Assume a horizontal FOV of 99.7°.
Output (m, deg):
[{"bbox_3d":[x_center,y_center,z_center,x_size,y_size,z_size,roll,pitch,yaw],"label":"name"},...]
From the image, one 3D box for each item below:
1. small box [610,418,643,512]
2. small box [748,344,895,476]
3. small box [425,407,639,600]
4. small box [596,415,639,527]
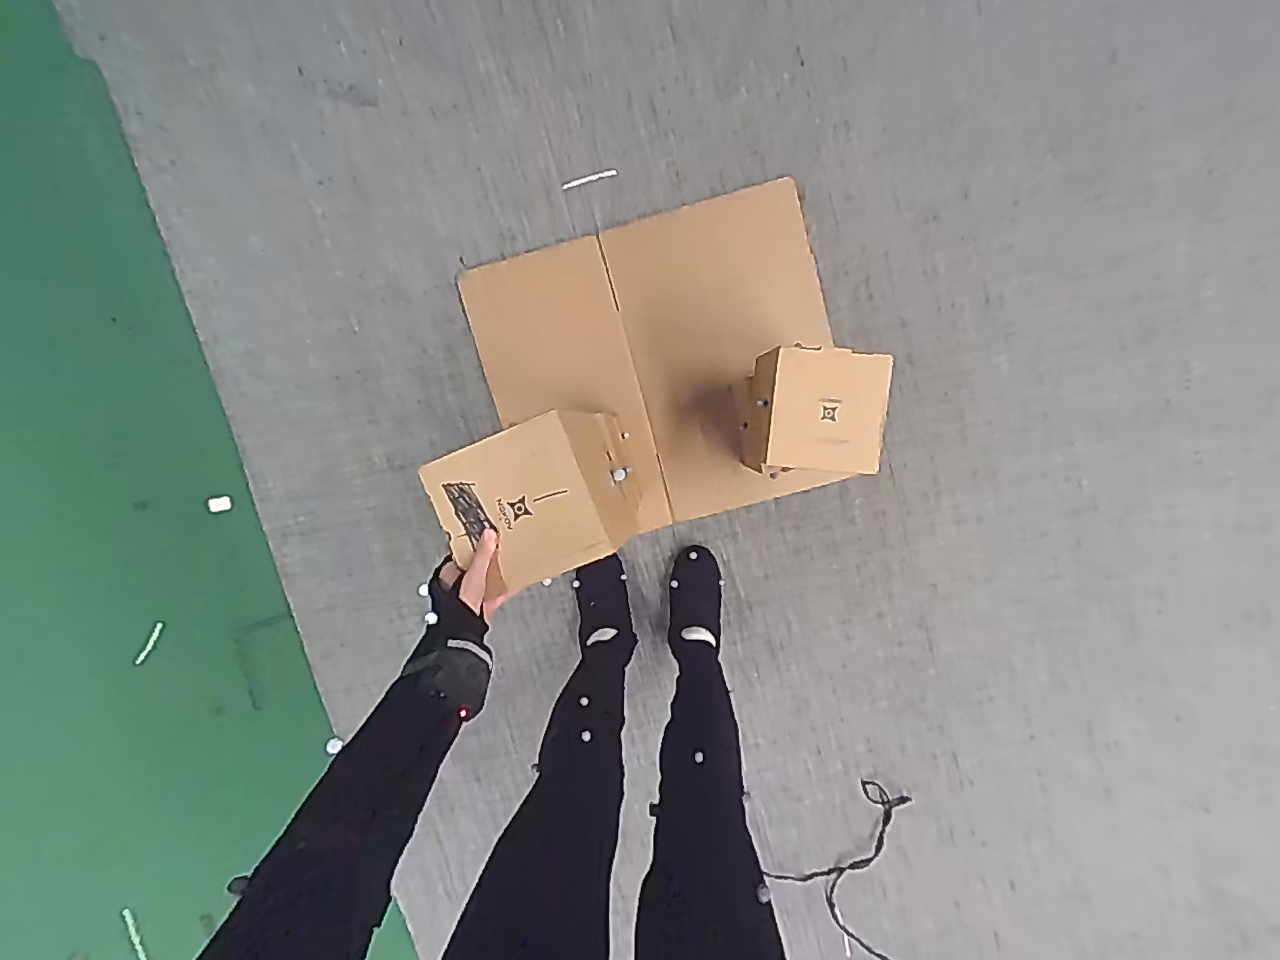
[{"bbox_3d":[-0.094,-0.015,1.041,0.168,0.176,0.179,-17,95,3],"label":"small box"},{"bbox_3d":[0.274,-0.107,0.853,0.168,0.176,0.179,6,97,0],"label":"small box"},{"bbox_3d":[-0.117,0.023,0.654,0.179,0.176,0.168,-21,91,9],"label":"small box"},{"bbox_3d":[-0.102,-0.002,0.876,0.168,0.176,0.179,-16,95,3],"label":"small box"}]
